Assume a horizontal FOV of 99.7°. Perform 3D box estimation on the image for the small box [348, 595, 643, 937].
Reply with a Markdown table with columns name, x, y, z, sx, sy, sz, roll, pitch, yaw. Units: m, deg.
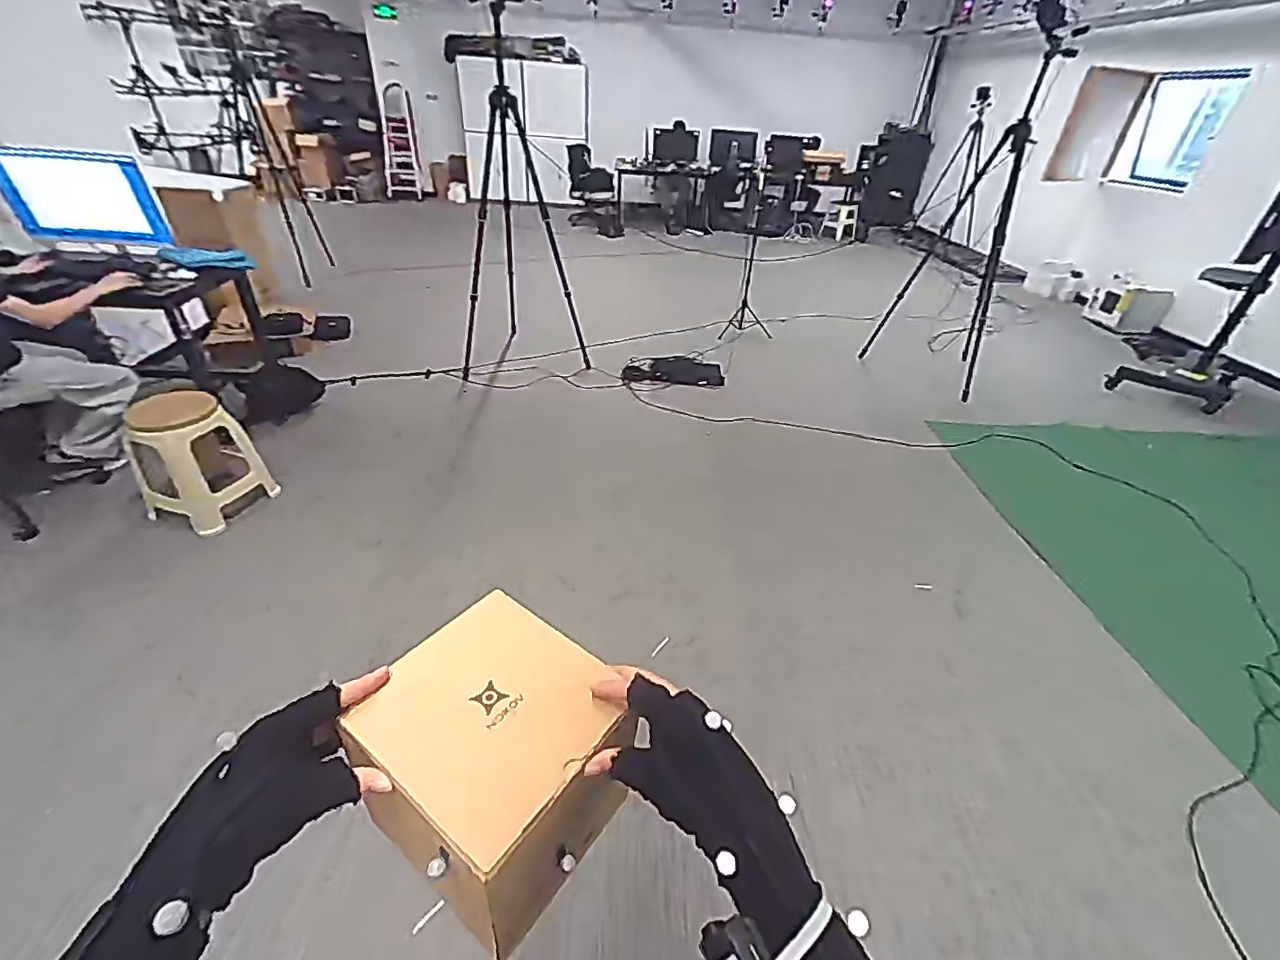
| name | x | y | z | sx | sy | sz | roll | pitch | yaw |
| --- | --- | --- | --- | --- | --- | --- | --- | --- | --- |
| small box | -0.123 | 0.243 | 0.478 | 0.179 | 0.176 | 0.168 | 29 | 38 | 26 |
